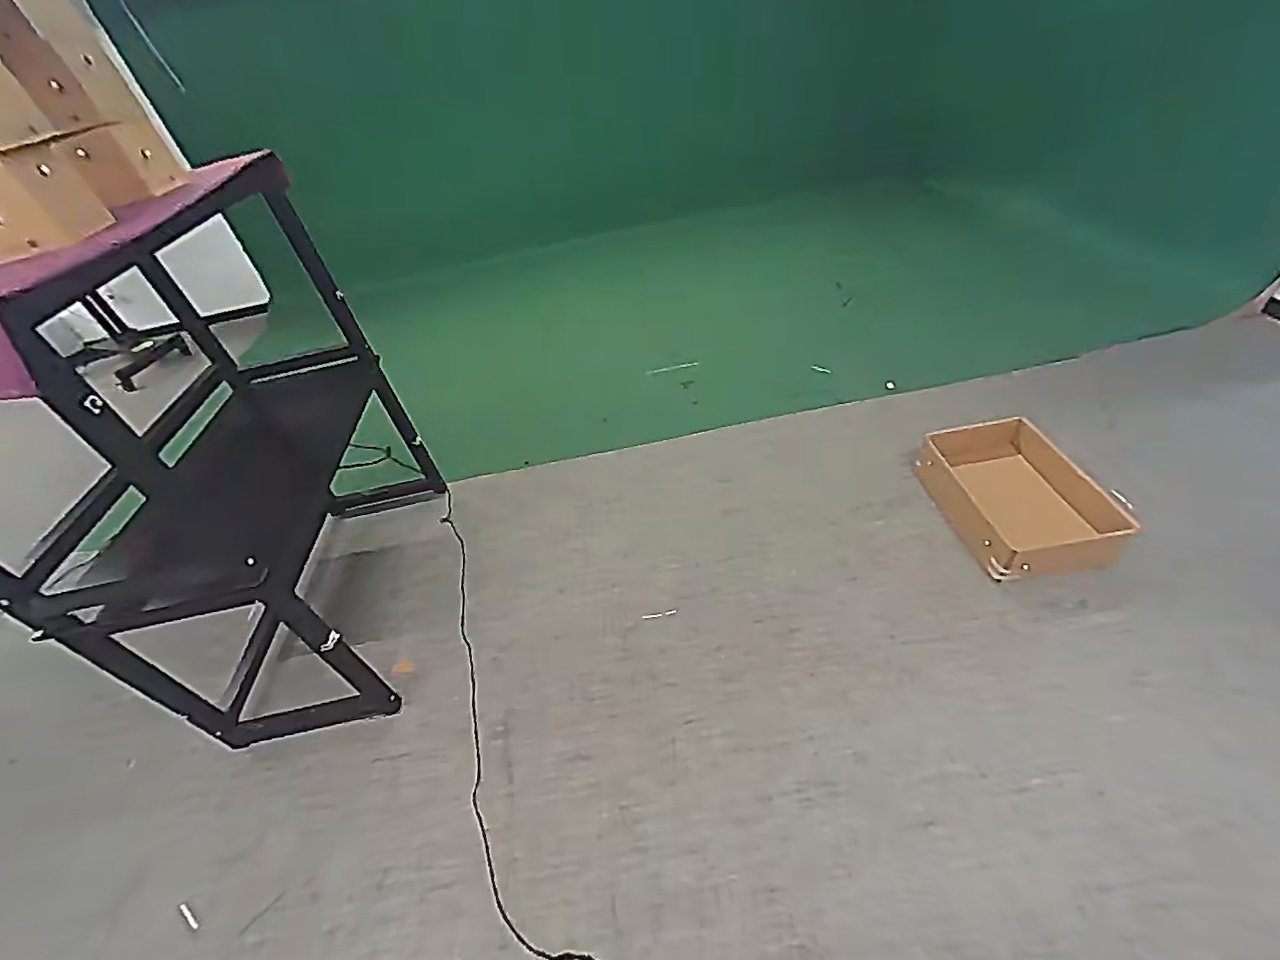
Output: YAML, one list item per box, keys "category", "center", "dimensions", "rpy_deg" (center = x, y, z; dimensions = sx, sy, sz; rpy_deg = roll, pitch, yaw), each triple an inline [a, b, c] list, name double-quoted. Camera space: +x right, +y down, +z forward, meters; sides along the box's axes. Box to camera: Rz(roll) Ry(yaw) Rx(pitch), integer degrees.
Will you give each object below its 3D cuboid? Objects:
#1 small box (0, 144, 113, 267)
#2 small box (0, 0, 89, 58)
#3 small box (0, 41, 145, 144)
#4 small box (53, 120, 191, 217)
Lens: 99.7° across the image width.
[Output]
- category: "small box"
  center: [-1.236, -0.547, 1.086]
  dimensions: [0.168, 0.176, 0.179]
  rpy_deg: [-15, 41, -2]
- category: "small box"
  center: [-1.417, -1.056, 1.207]
  dimensions: [0.168, 0.176, 0.179]
  rpy_deg: [-11, 41, 3]
- category: "small box"
  center: [-1.375, -0.937, 1.313]
  dimensions: [0.168, 0.176, 0.179]
  rpy_deg: [-13, 41, 1]
- category: "small box"
  center: [-1.353, -0.819, 1.423]
  dimensions: [0.179, 0.176, 0.168]
  rpy_deg: [-11, 42, 4]
